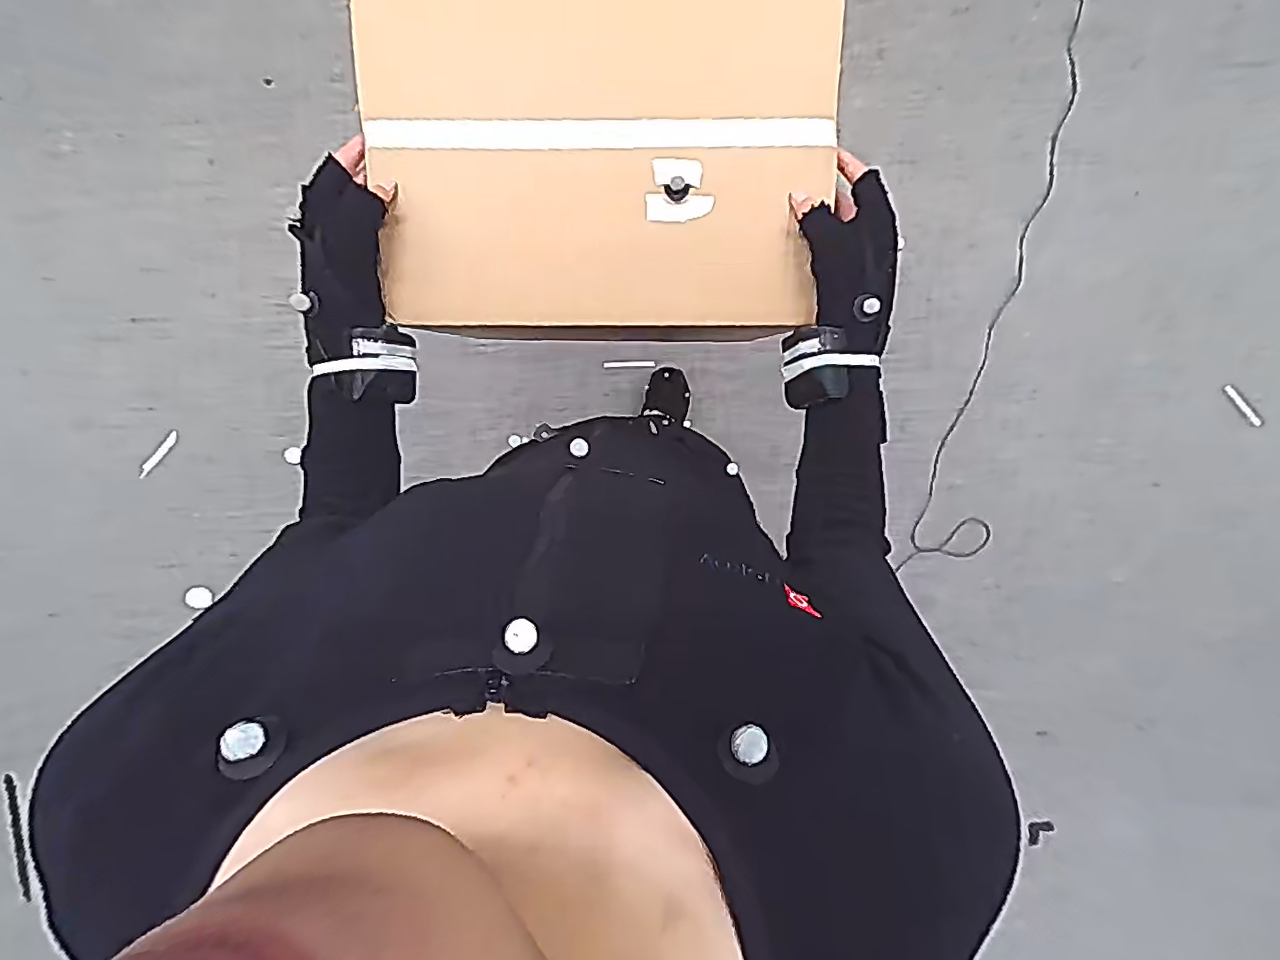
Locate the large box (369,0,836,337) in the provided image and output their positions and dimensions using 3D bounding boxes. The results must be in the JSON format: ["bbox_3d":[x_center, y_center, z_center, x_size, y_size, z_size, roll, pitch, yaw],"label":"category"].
[{"bbox_3d":[-0.033,-0.337,0.622,0.408,0.320,0.320,0,102,0],"label":"large box"}]
